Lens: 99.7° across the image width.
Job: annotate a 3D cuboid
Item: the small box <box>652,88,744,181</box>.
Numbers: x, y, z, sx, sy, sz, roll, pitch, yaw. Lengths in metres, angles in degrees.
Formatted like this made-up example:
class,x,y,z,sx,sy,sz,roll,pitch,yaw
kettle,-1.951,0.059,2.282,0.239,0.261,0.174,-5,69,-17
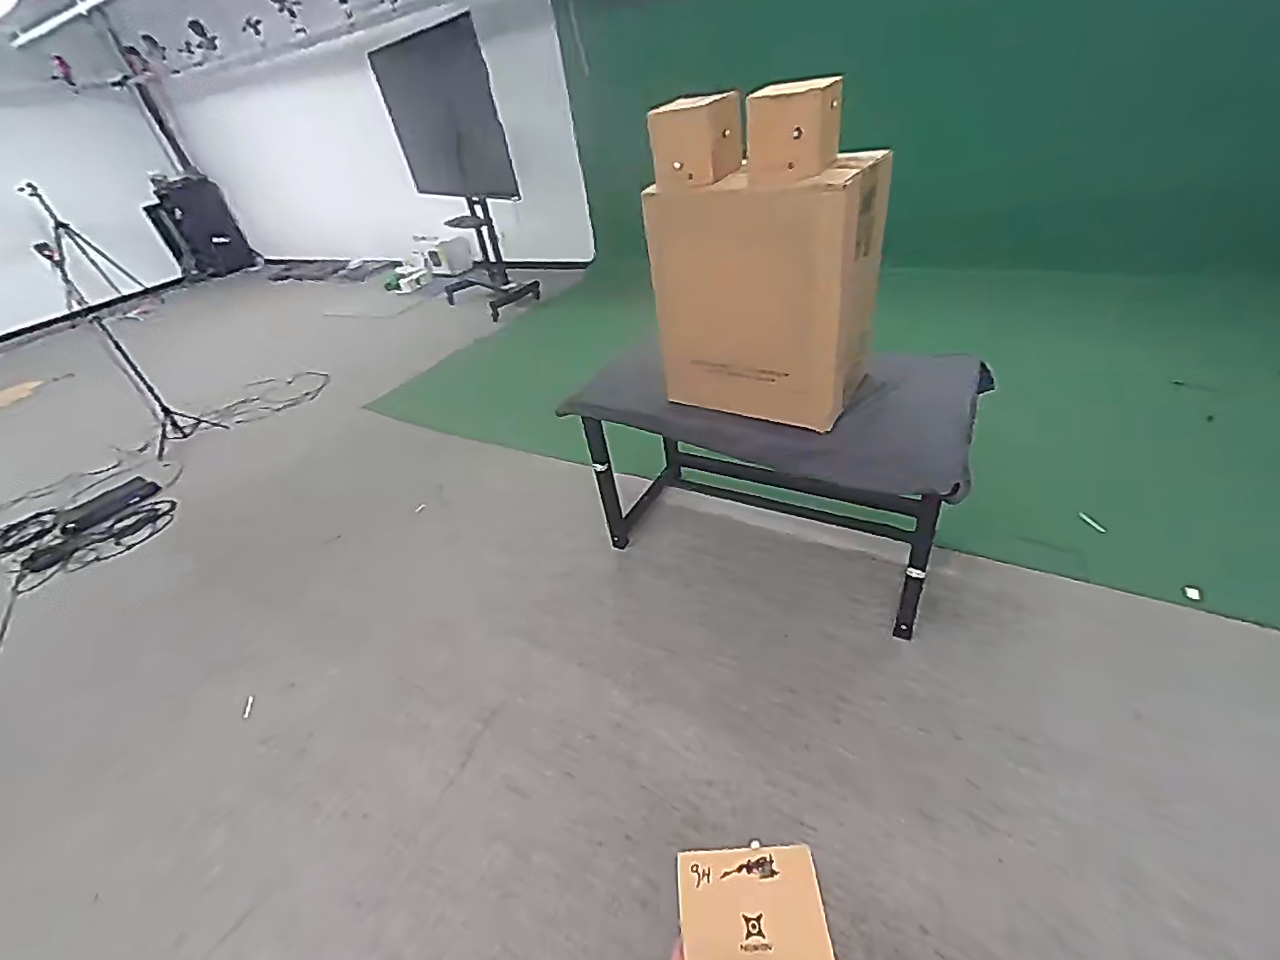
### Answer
class,x,y,z,sx,sy,sz,roll,pitch,yaw
small box,0.151,-0.863,1.356,0.168,0.176,0.179,17,46,33

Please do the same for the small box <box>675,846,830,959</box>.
class,x,y,z,sx,sy,sz,roll,pitch,yaw
small box,0.140,0.586,0.661,0.168,0.176,0.179,-8,37,2

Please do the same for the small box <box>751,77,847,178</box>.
class,x,y,z,sx,sy,sz,roll,pitch,yaw
small box,0.365,-0.808,1.247,0.168,0.176,0.179,16,45,26
